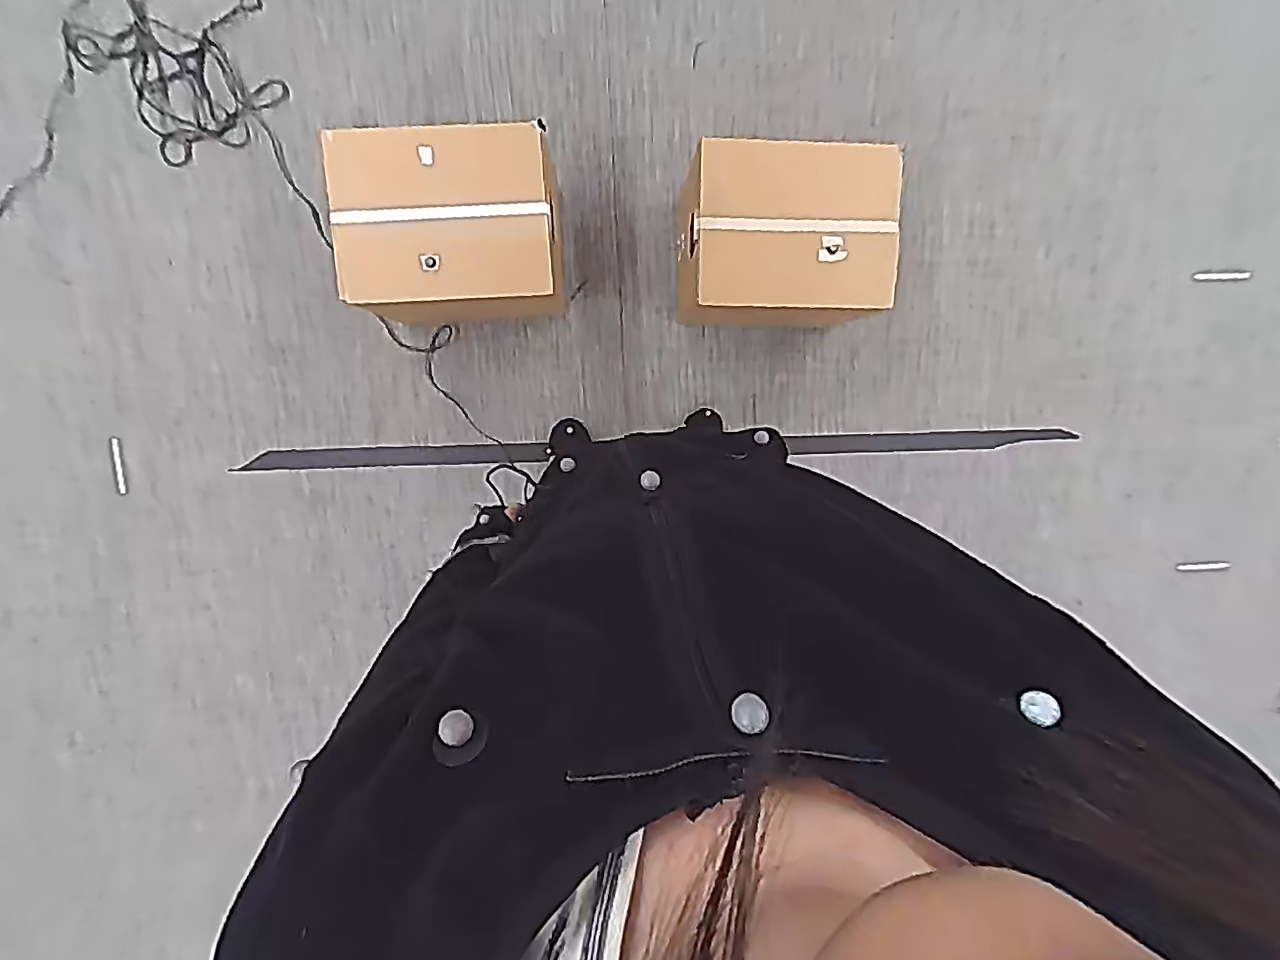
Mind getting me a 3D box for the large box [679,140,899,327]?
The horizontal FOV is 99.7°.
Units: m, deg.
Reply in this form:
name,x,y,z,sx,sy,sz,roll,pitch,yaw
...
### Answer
name,x,y,z,sx,sy,sz,roll,pitch,yaw
large box,0.306,-0.528,1.225,0.408,0.320,0.320,0,98,-4
